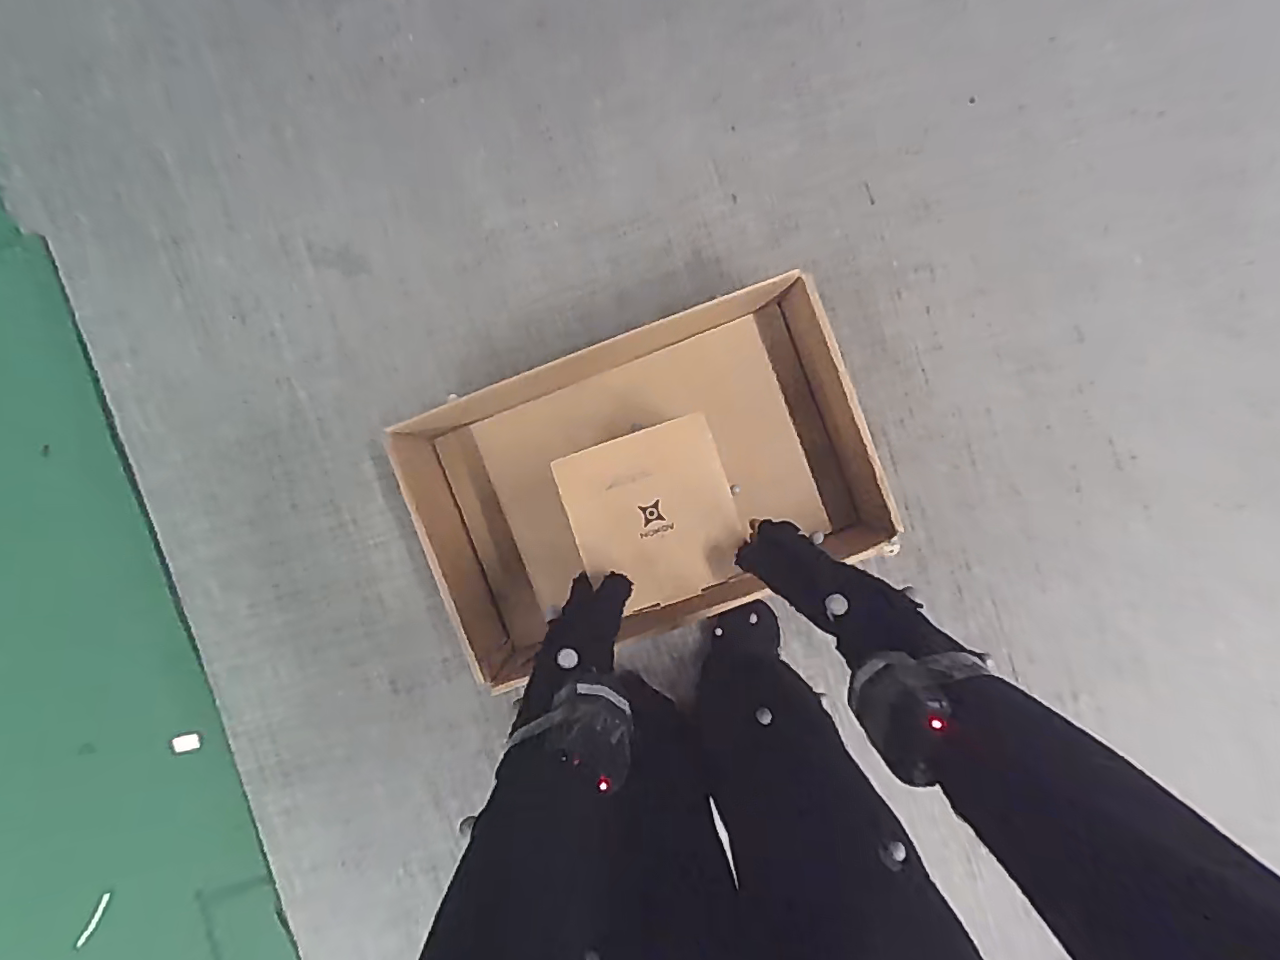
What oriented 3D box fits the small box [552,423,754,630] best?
[{"bbox_3d":[0.018,0.045,0.626,0.168,0.176,0.179,-19,90,2],"label":"small box"}]
